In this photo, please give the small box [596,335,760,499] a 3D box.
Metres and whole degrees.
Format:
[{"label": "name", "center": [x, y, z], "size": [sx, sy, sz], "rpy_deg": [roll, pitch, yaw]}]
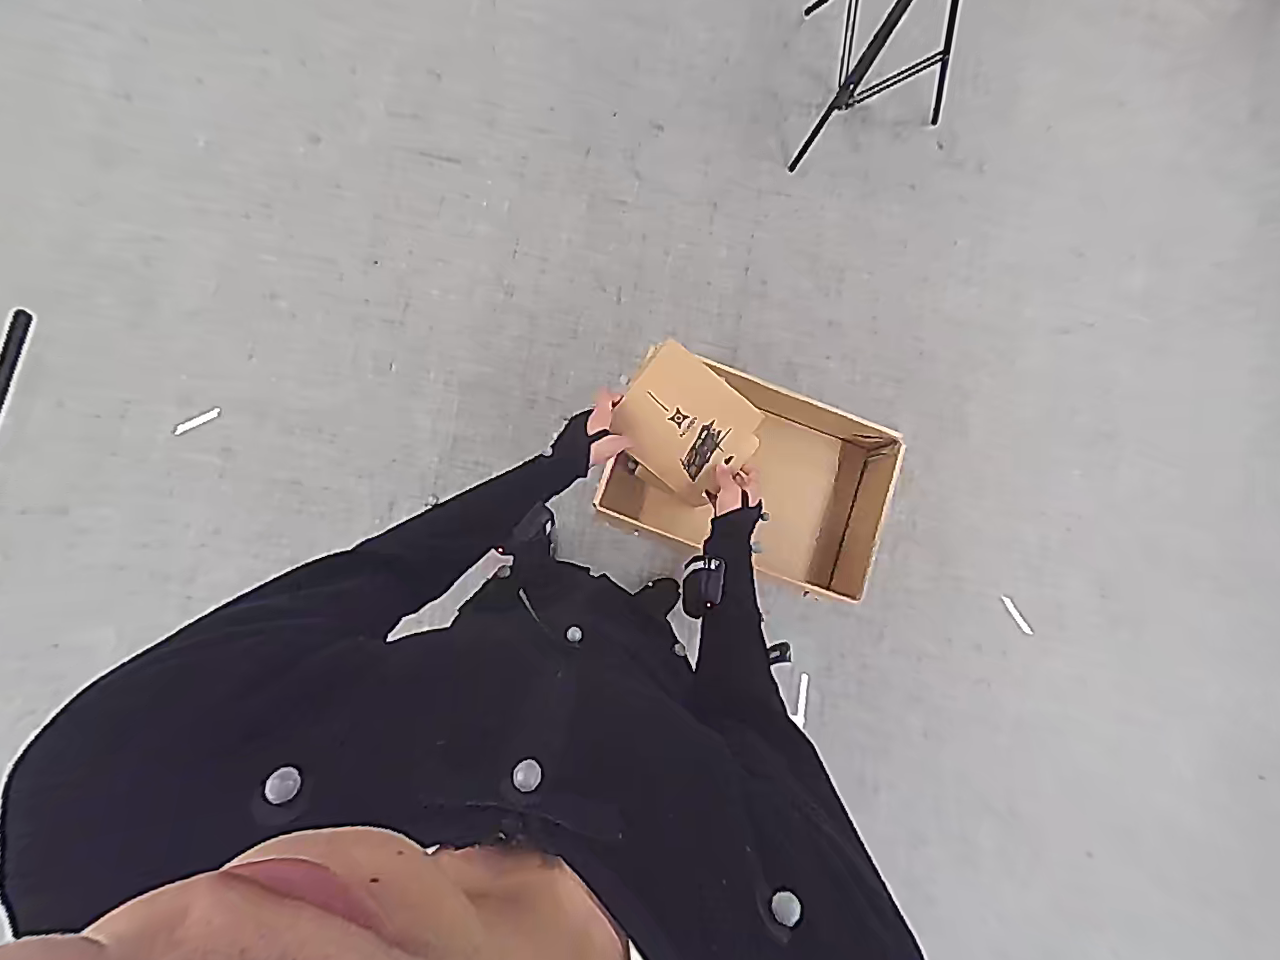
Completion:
[{"label": "small box", "center": [0.048, -0.097, 0.836], "size": [0.179, 0.176, 0.168], "rpy_deg": [39, 91, -9]}]
